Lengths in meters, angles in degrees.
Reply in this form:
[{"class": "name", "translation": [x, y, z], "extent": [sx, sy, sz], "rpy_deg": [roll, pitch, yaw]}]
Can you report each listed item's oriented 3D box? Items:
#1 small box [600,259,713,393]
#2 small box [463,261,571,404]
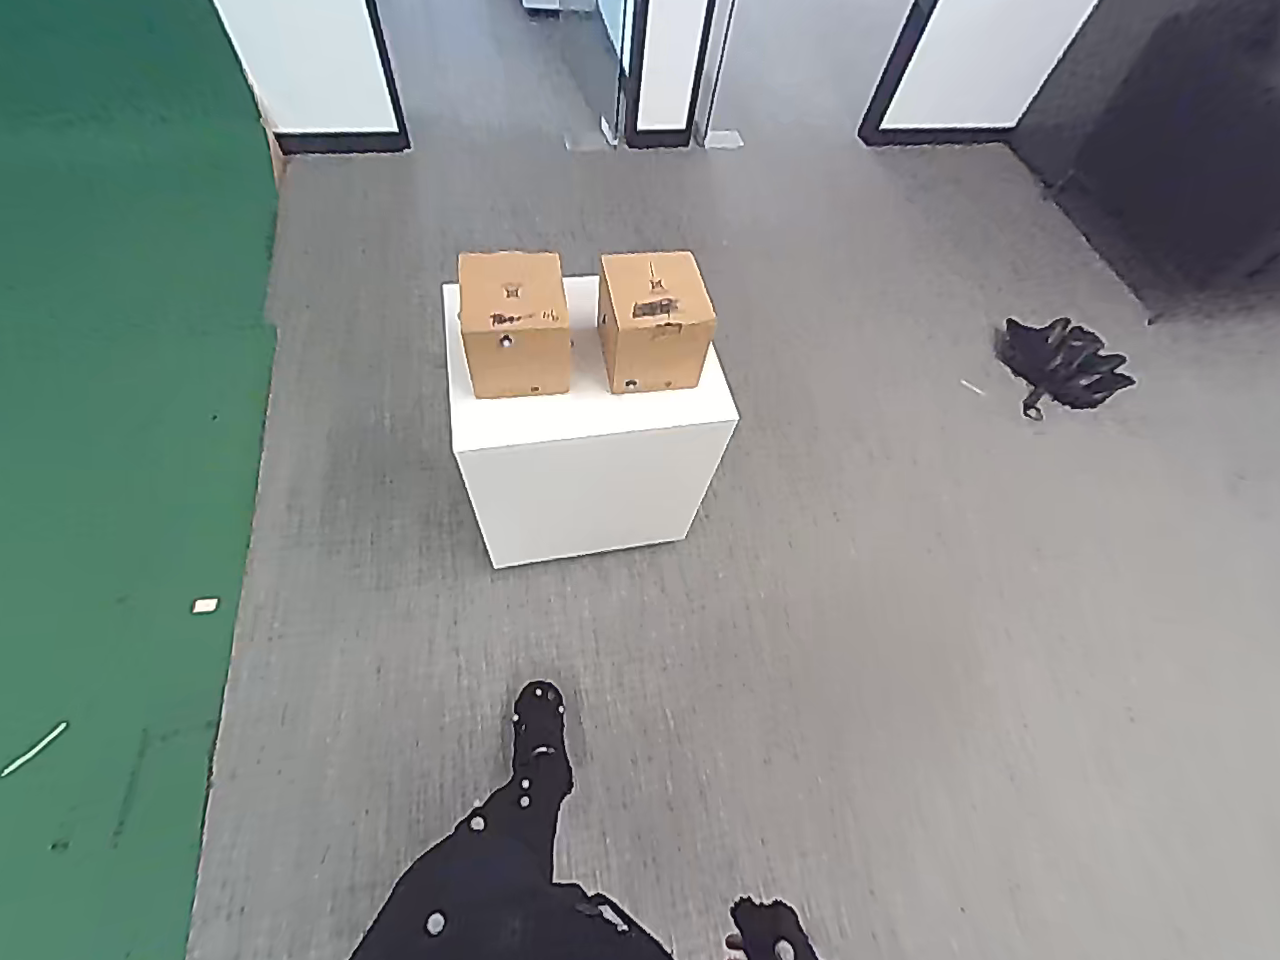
[{"class": "small box", "translation": [0.020, -0.271, 0.982], "extent": [0.168, 0.176, 0.179], "rpy_deg": [-7, 60, -11]}, {"class": "small box", "translation": [-0.210, -0.256, 0.944], "extent": [0.168, 0.176, 0.179], "rpy_deg": [-6, 60, -10]}]
